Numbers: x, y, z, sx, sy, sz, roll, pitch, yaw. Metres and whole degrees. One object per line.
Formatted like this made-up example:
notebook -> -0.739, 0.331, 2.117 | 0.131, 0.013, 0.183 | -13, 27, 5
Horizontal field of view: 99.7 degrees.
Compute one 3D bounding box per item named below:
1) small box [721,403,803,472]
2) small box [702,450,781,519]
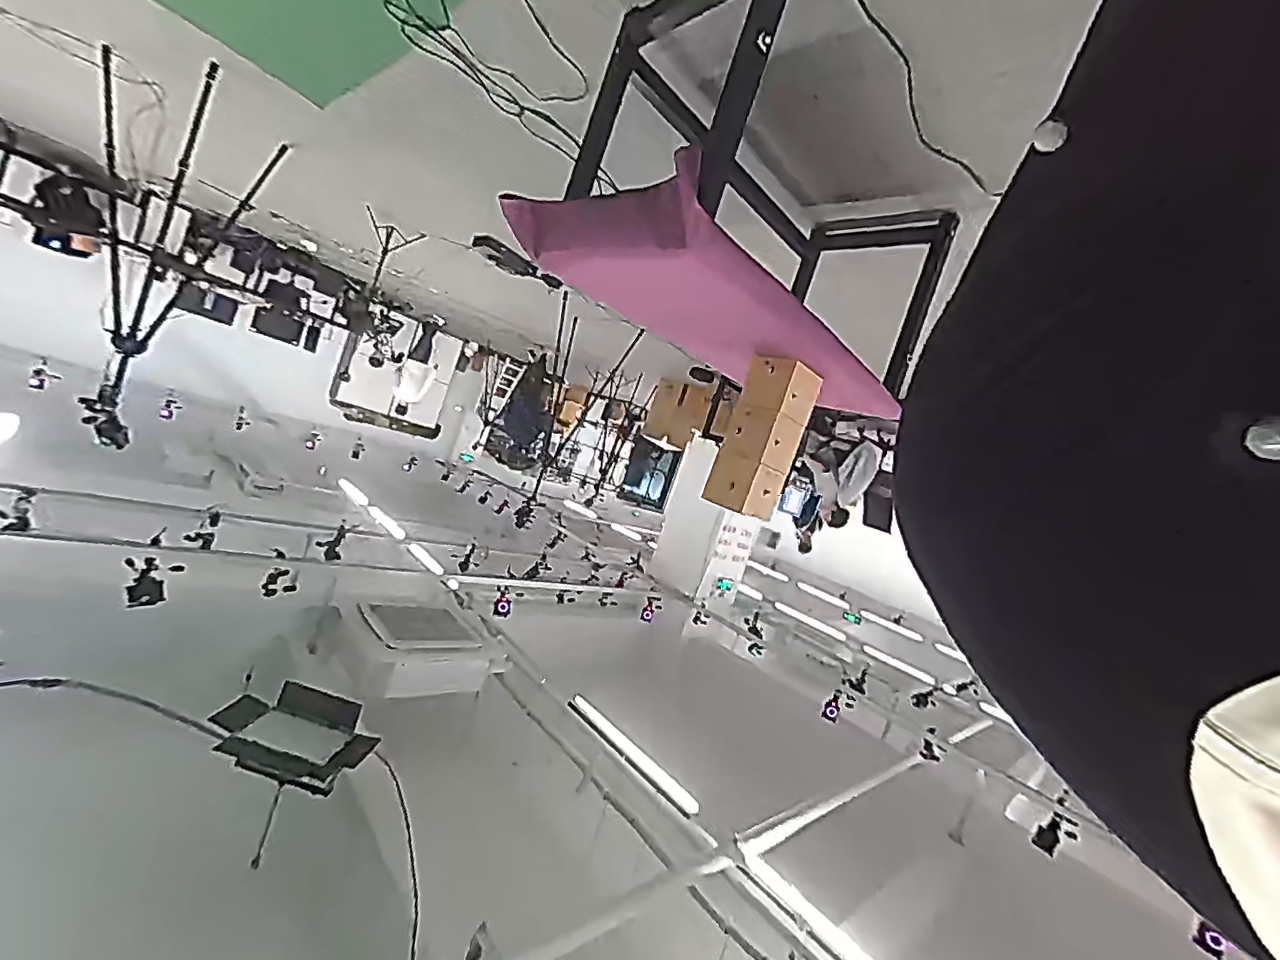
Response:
small box -> 0.394, -0.140, 1.741 | 0.179, 0.176, 0.168 | 17, -177, -44
small box -> 0.335, 0.012, 1.751 | 0.168, 0.176, 0.179 | 19, -178, -43
